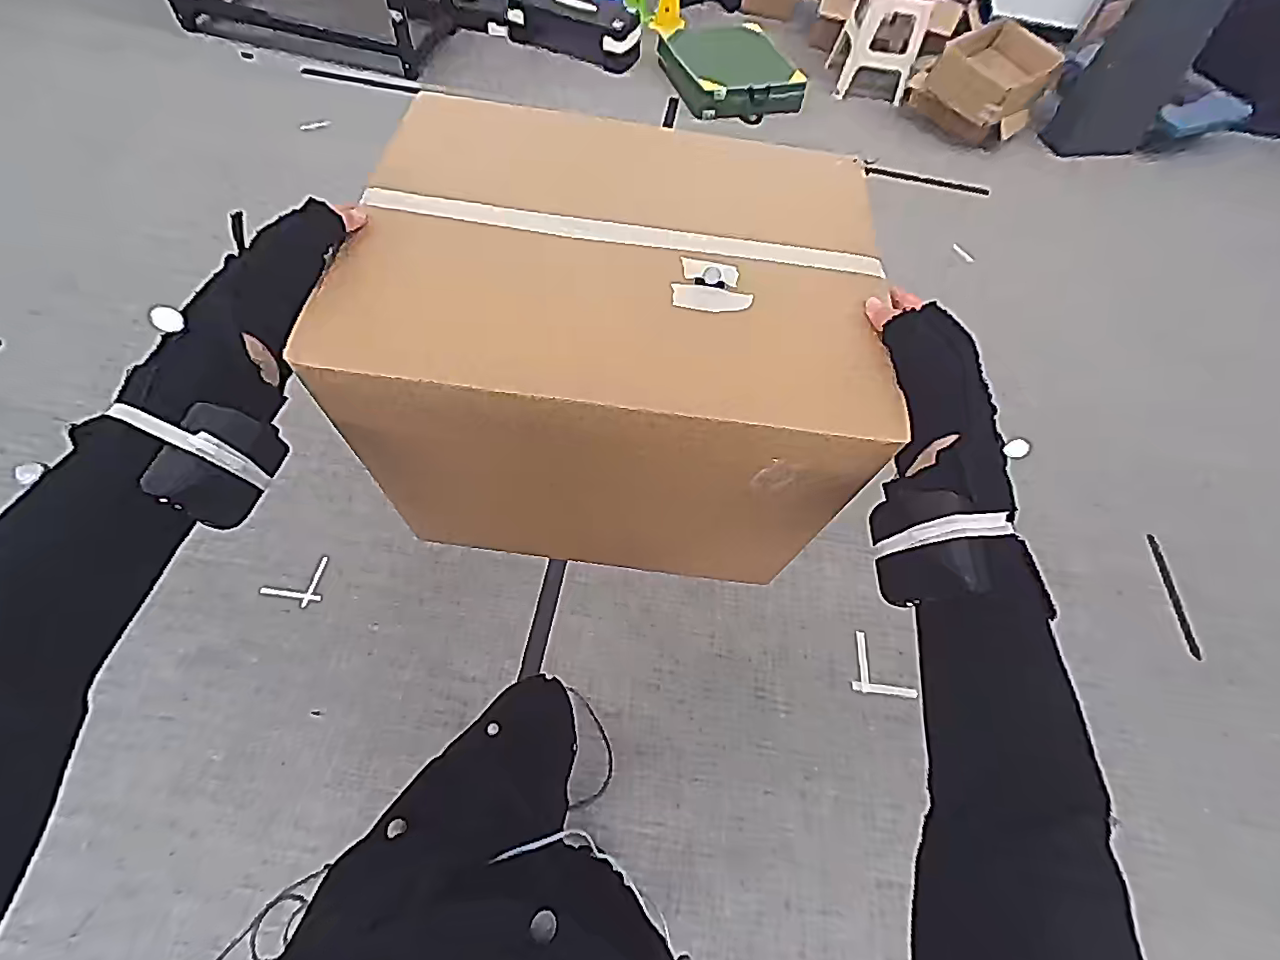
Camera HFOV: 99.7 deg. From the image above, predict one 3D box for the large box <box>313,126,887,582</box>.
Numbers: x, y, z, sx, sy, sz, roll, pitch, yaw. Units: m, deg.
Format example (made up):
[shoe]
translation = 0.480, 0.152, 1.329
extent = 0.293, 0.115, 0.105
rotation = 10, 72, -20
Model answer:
[large box]
translation = -0.027, -0.103, 0.568
extent = 0.408, 0.320, 0.320
rotation = 8, 62, -2
